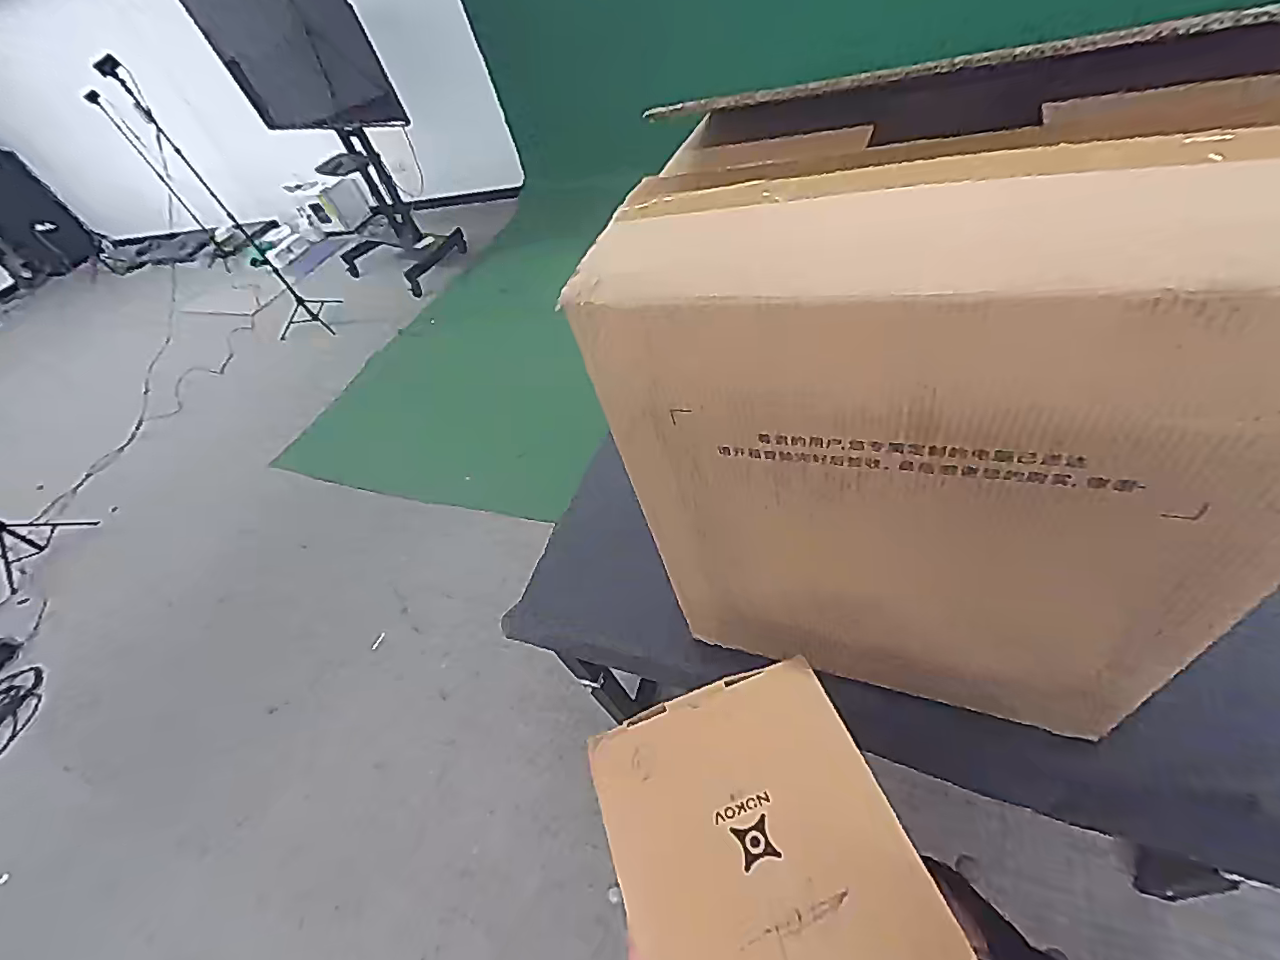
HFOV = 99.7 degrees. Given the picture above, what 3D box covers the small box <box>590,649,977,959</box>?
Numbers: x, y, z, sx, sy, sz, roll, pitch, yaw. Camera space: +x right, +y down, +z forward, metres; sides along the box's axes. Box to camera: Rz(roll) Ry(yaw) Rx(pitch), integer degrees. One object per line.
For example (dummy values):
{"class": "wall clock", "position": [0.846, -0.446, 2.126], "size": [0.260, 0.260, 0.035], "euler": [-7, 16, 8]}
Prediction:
{"class": "small box", "position": [0.079, 0.256, 0.378], "size": [0.168, 0.176, 0.179], "euler": [-21, 50, -7]}
